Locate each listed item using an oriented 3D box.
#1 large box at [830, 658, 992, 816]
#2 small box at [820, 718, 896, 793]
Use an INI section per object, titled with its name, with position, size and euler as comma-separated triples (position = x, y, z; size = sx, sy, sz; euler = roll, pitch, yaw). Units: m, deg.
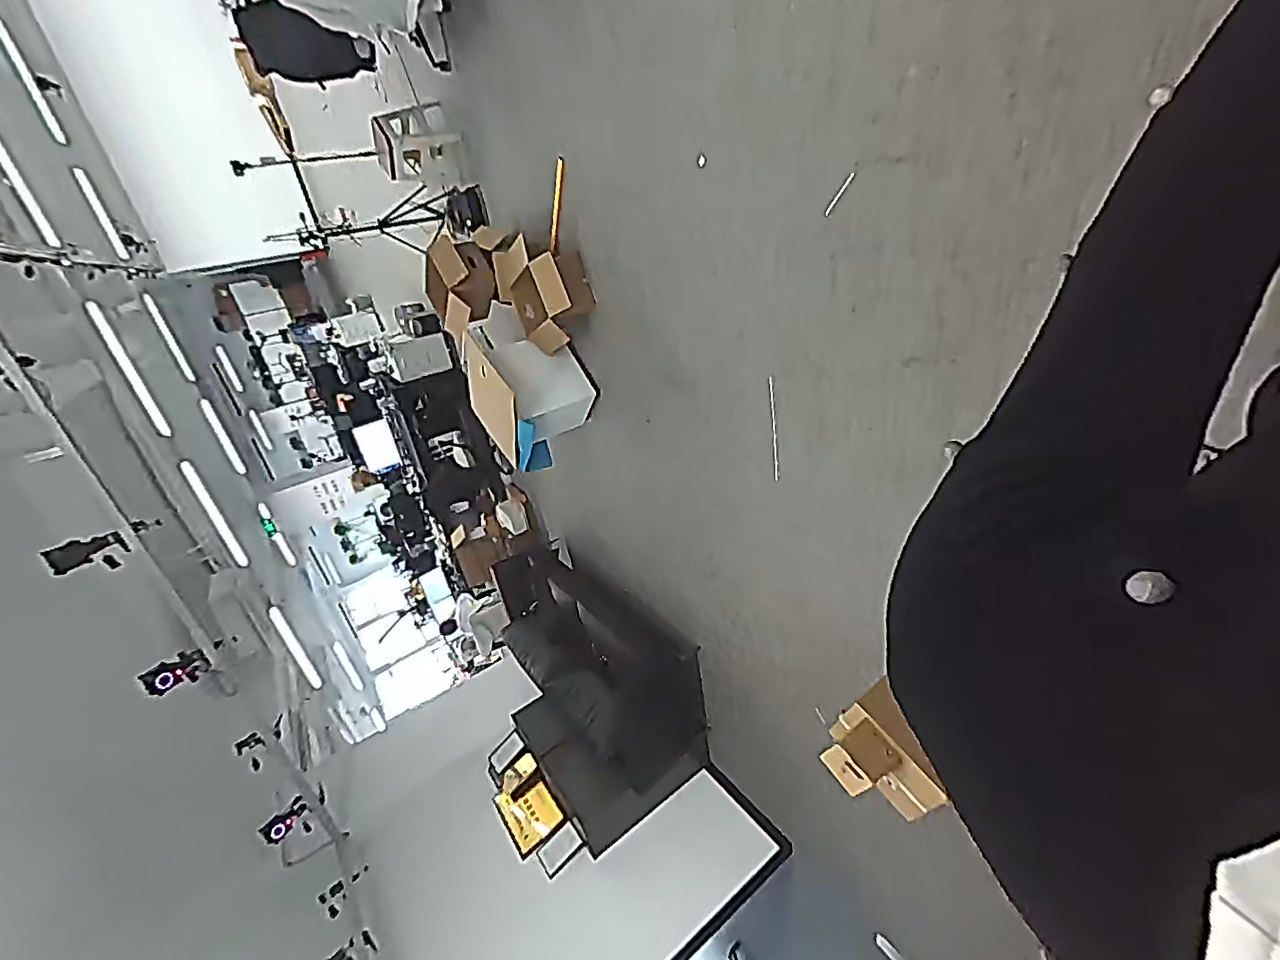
[large box]
position = 1.040, 0.992, 2.111
size = 0.408, 0.320, 0.320
euler = 45, 147, 31
[small box]
position = 0.809, 1.013, 1.997
size = 0.168, 0.176, 0.179
euler = 49, 147, 28
